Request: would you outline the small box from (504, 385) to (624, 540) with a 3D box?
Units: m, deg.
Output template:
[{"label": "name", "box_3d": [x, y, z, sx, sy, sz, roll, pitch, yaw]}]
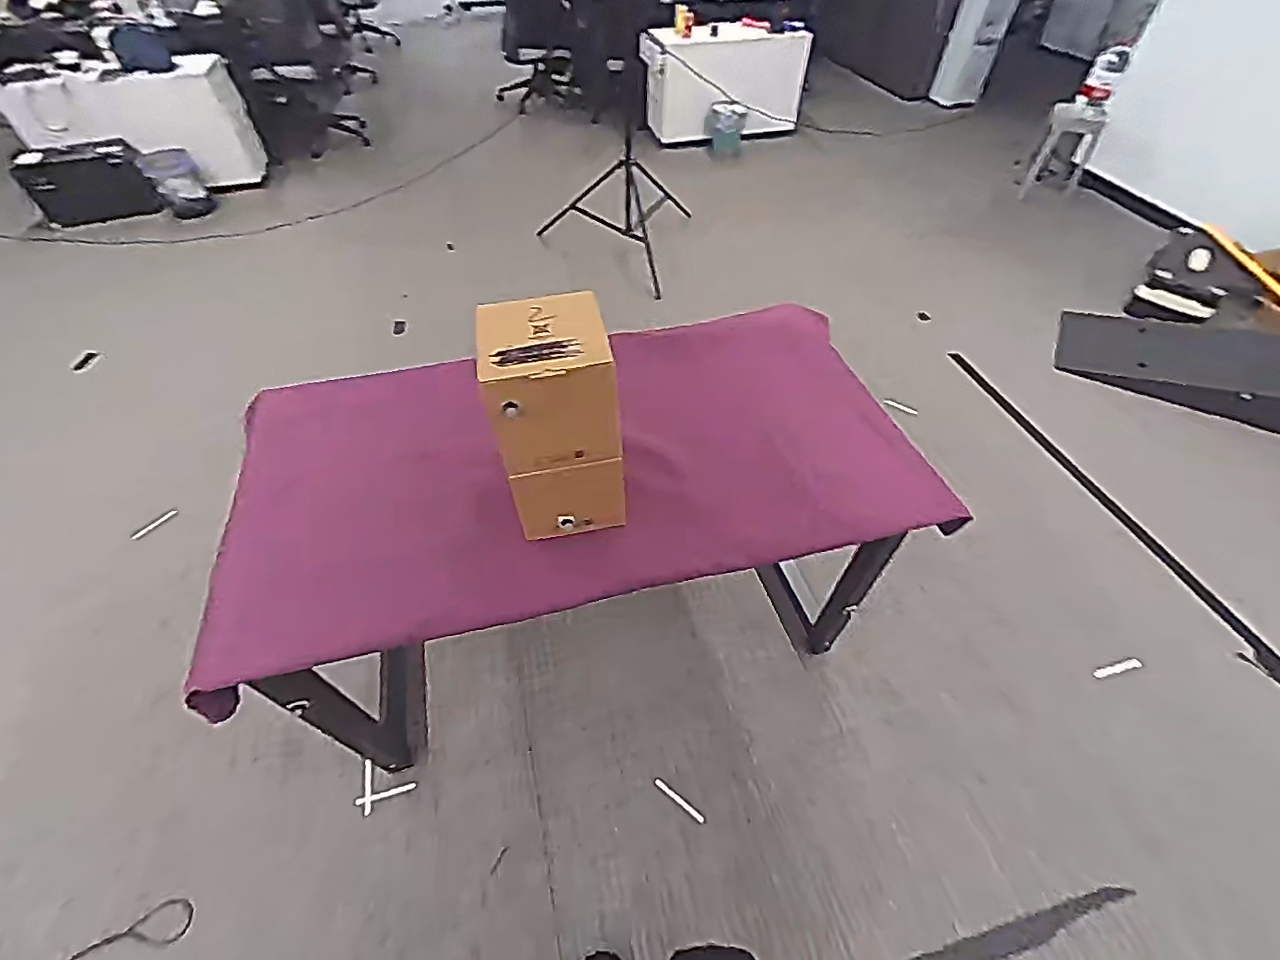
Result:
[{"label": "small box", "box_3d": [-0.123, -0.028, 0.888, 0.168, 0.176, 0.179, -11, 51, -8]}]
